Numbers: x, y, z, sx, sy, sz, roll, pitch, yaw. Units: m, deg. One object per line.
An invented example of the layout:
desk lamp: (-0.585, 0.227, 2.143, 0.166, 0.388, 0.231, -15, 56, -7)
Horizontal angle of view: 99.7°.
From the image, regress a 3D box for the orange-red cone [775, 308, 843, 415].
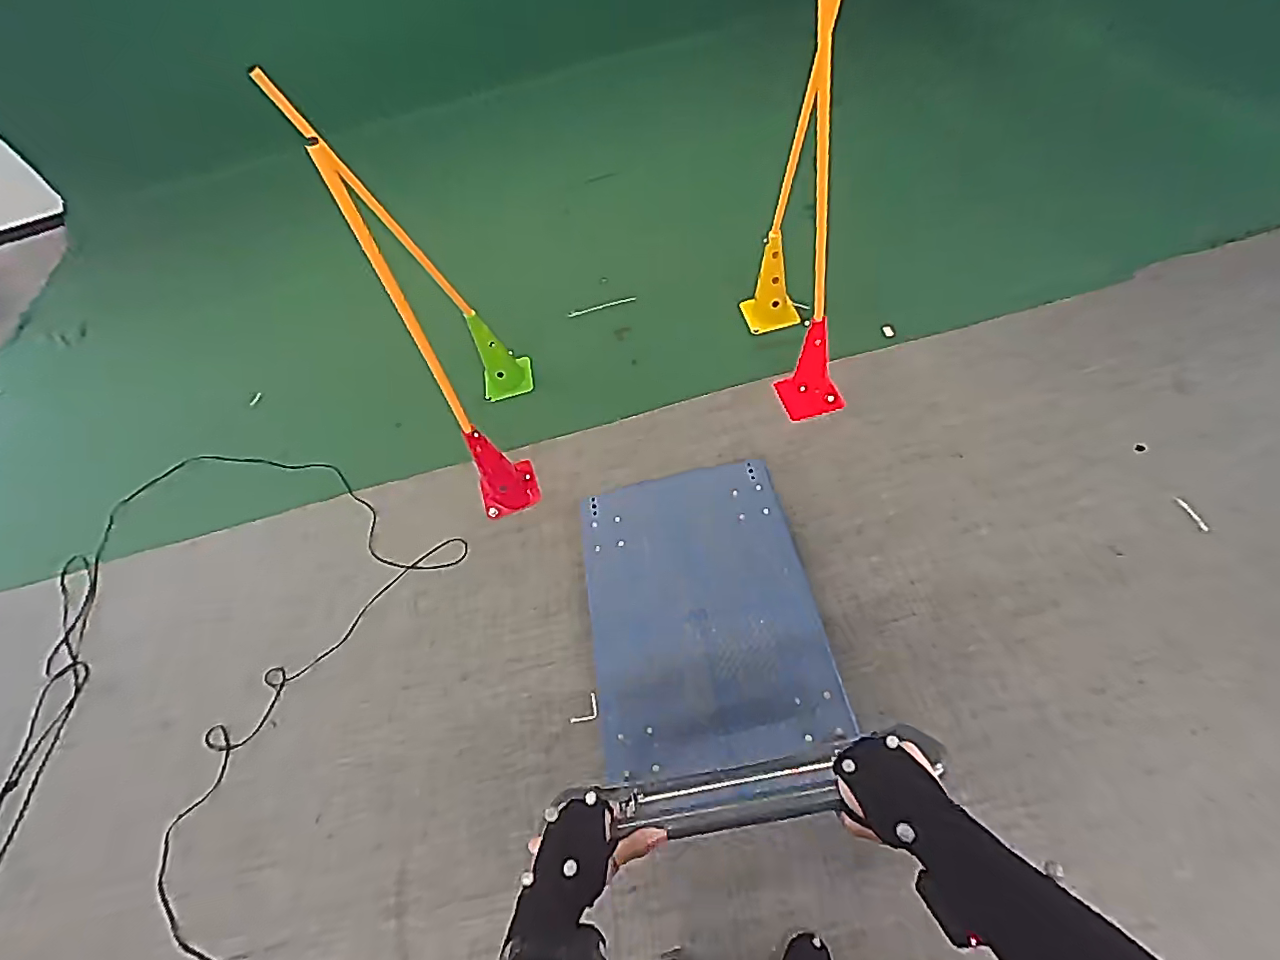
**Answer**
orange-red cone: (0.568, -0.413, 1.773, 0.198, 0.360, 0.199, -15, 55, 1)

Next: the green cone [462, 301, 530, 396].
green cone: (-0.579, -0.526, 2.069, 0.200, 0.368, 0.202, -16, 56, 2)
